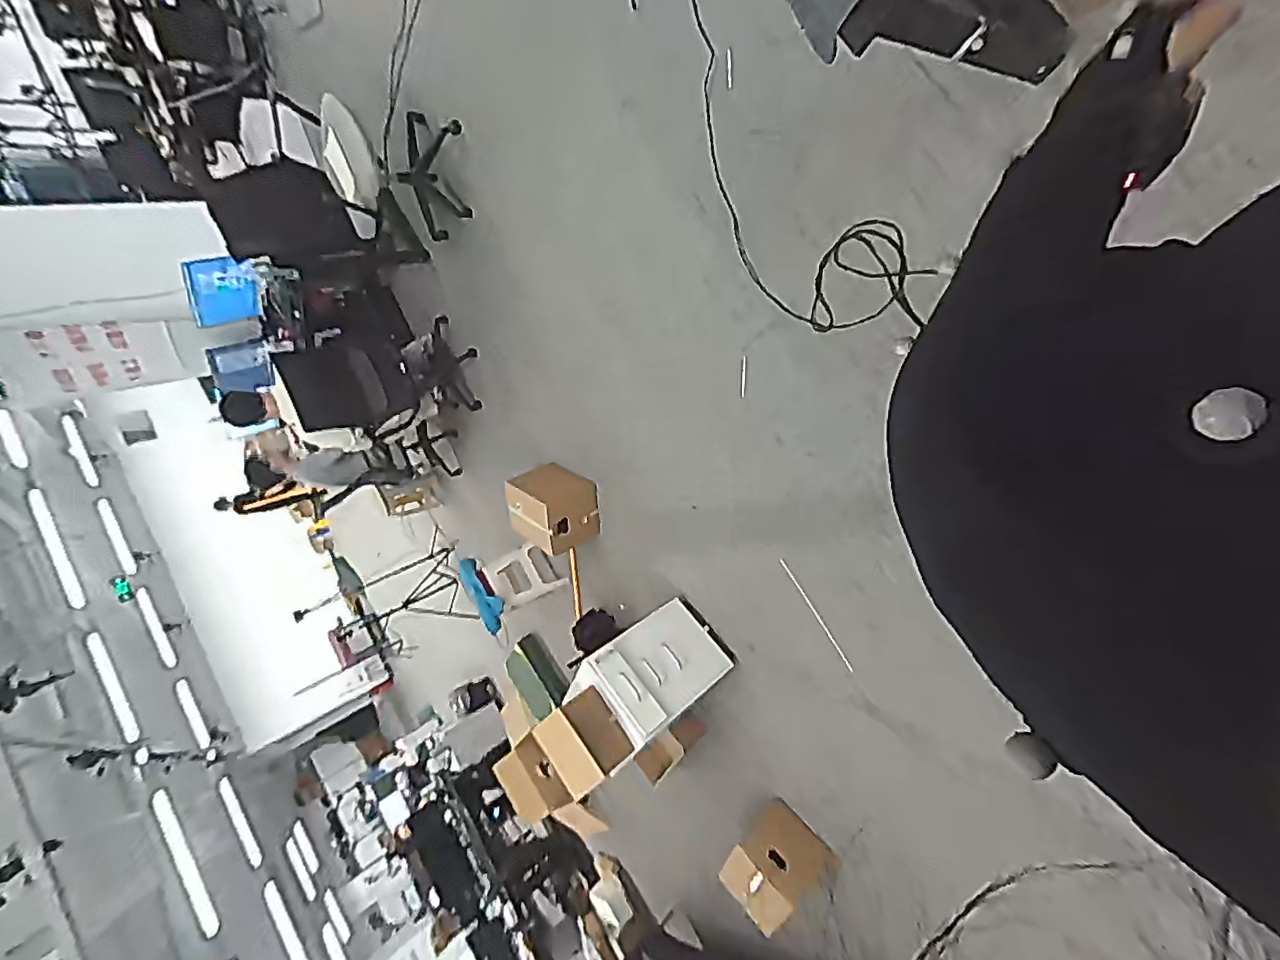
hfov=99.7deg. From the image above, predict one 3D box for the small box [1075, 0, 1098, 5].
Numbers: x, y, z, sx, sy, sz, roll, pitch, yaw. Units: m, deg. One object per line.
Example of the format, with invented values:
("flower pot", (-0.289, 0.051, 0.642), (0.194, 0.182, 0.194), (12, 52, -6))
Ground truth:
("small box", (0.780, -0.933, 0.882), (0.179, 0.176, 0.168), (-21, 94, 54))
